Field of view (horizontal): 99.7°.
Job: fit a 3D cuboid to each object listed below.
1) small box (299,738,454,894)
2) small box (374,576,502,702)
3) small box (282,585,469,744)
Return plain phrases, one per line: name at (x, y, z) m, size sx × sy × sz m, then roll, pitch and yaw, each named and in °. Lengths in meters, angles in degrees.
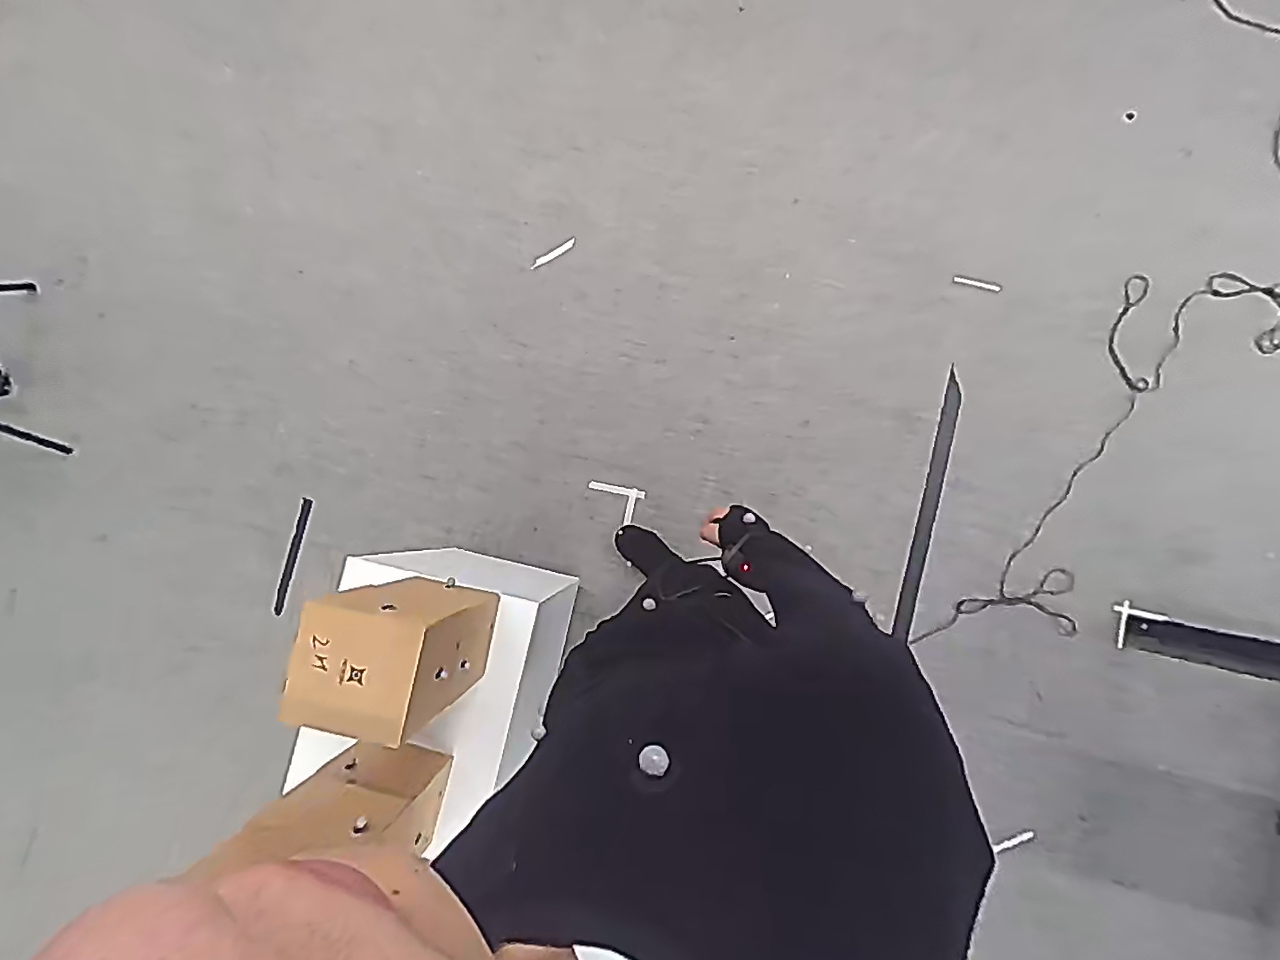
small box at (-0.453, 0.569, 0.950) m, size 0.179 × 0.176 × 0.168 m, roll 14°, pitch 86°, yaw 4°
small box at (-0.369, 0.272, 0.969) m, size 0.179 × 0.176 × 0.168 m, roll 11°, pitch 87°, yaw 4°
small box at (-0.377, 0.260, 0.804) m, size 0.179 × 0.176 × 0.168 m, roll 12°, pitch 86°, yaw 4°
